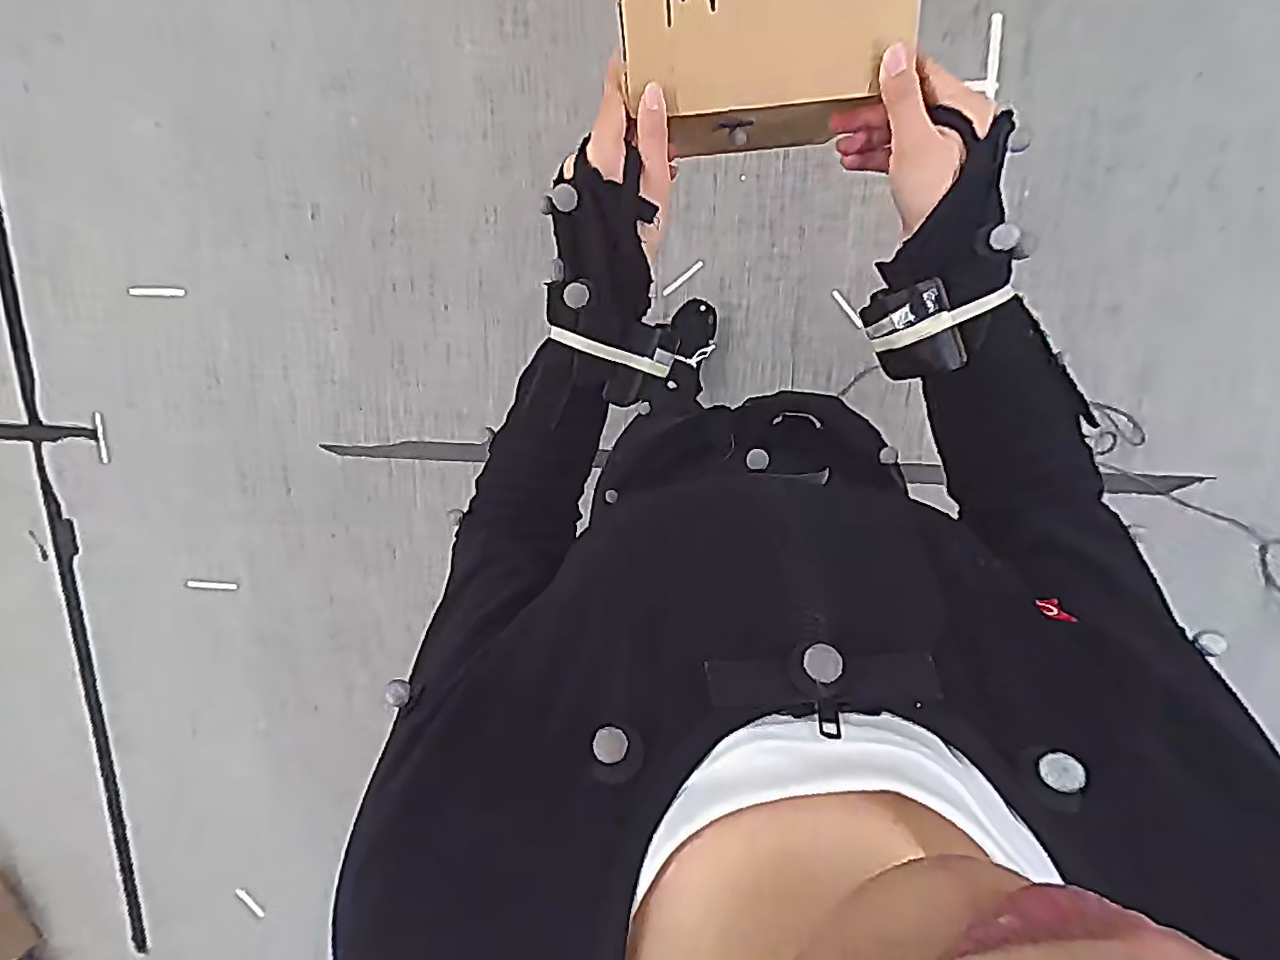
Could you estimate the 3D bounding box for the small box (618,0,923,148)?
[{"bbox_3d":[0.073,-0.341,0.370,0.179,0.176,0.168,-5,113,2],"label":"small box"}]
